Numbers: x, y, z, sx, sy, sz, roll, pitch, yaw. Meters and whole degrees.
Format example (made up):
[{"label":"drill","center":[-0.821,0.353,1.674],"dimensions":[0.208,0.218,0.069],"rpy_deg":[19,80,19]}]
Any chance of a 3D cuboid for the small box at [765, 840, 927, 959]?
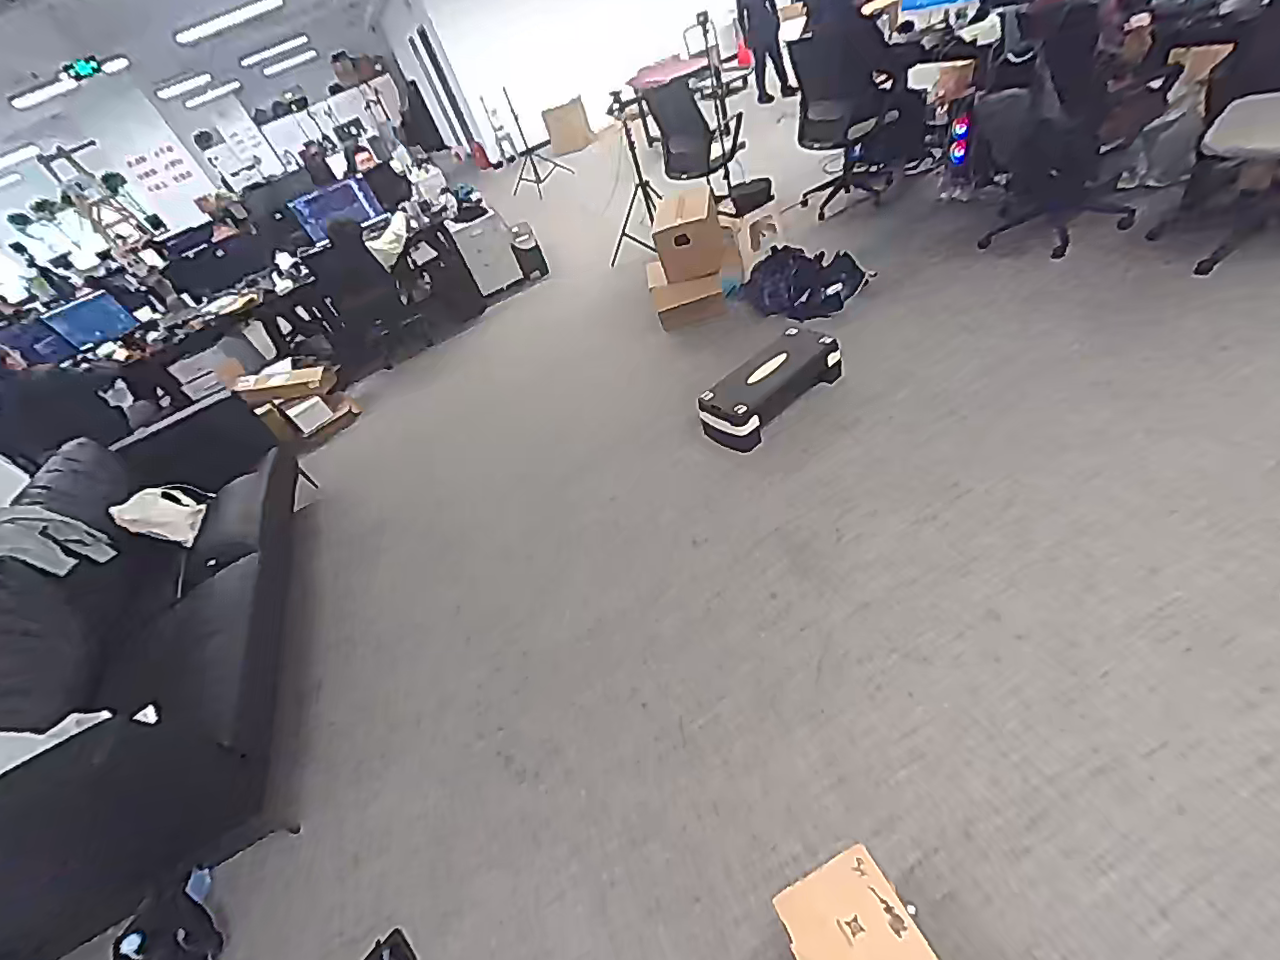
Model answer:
[{"label":"small box","center":[0.329,0.723,0.862],"dimensions":[0.179,0.176,0.168],"rpy_deg":[-29,41,-4]}]
